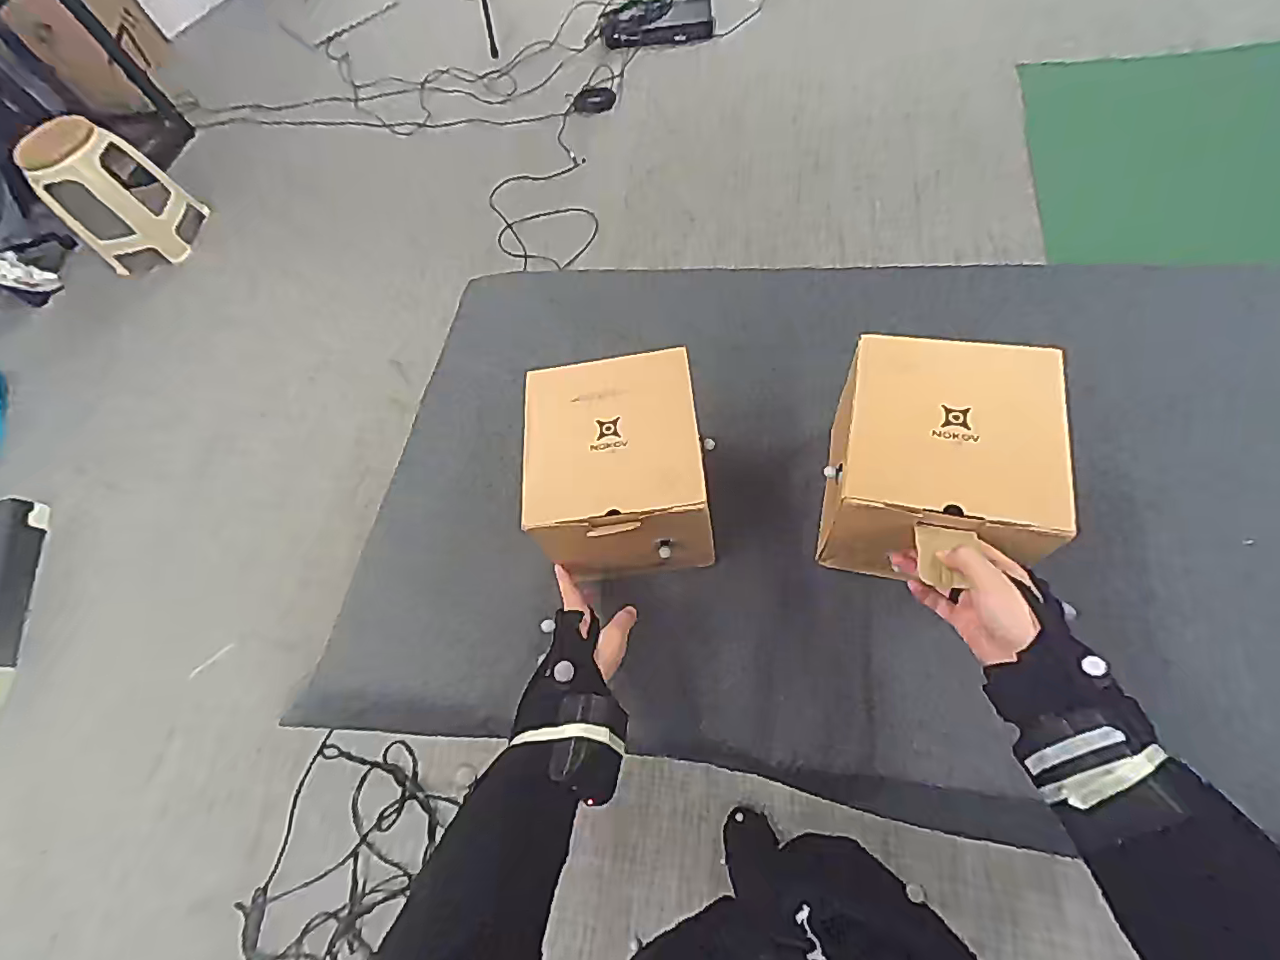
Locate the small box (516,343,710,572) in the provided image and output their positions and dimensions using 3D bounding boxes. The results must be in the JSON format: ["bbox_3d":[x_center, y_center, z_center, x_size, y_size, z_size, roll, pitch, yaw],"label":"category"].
[{"bbox_3d":[-0.020,-0.011,0.563,0.168,0.176,0.179,-7,61,5],"label":"small box"}]

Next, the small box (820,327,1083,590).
[{"bbox_3d":[0.273,-0.015,0.511,0.168,0.176,0.179,9,65,14],"label":"small box"}]
